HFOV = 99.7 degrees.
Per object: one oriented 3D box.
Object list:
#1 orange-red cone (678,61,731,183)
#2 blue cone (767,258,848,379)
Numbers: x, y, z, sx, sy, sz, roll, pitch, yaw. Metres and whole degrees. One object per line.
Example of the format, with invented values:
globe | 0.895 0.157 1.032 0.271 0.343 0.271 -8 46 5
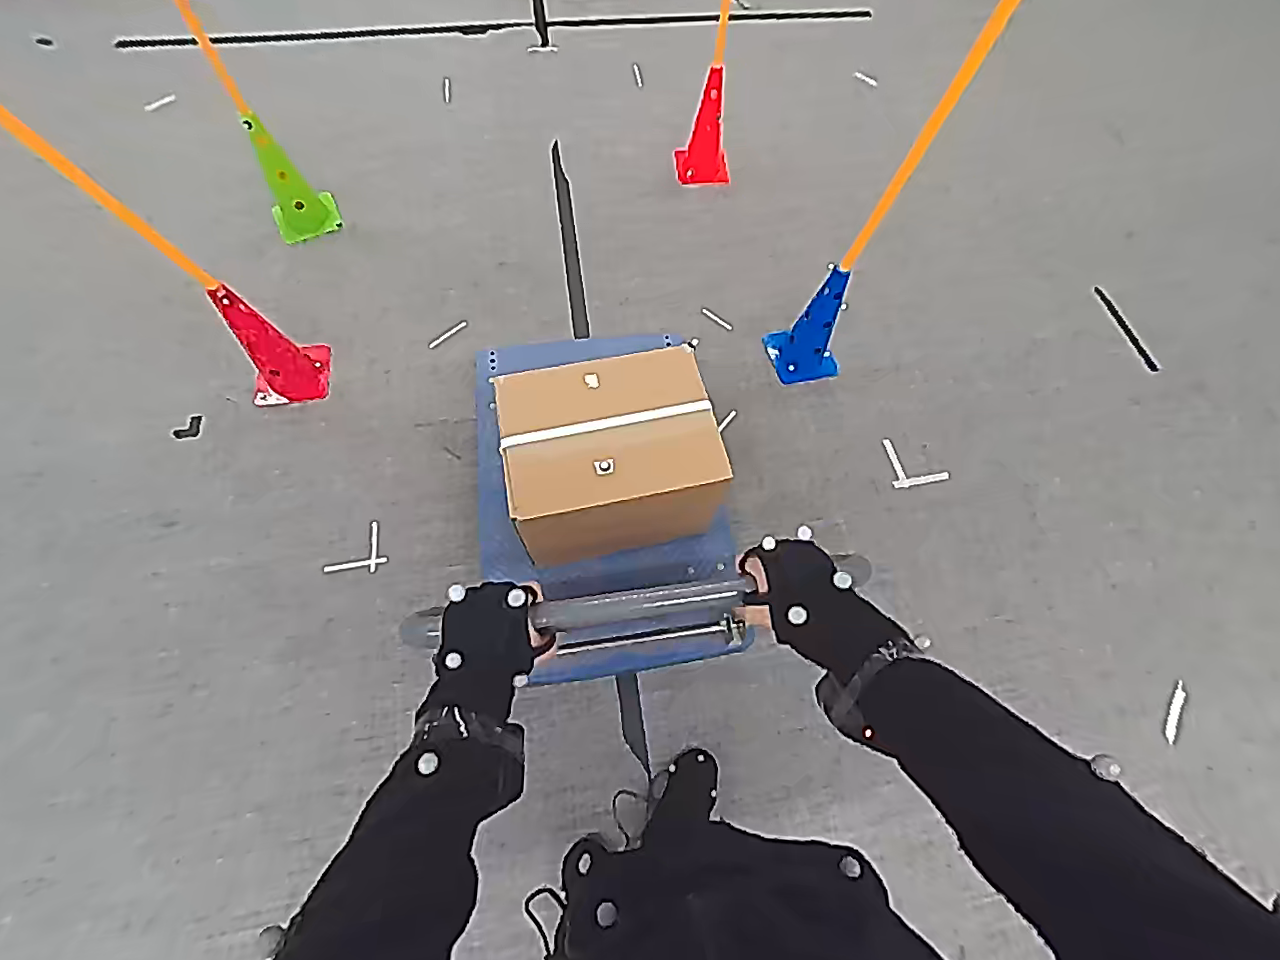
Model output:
orange-red cone | 0.255 -1.280 1.916 0.199 0.360 0.198 -1 66 -4
blue cone | 0.523 -0.478 1.575 0.193 0.380 0.192 -11 65 -8
